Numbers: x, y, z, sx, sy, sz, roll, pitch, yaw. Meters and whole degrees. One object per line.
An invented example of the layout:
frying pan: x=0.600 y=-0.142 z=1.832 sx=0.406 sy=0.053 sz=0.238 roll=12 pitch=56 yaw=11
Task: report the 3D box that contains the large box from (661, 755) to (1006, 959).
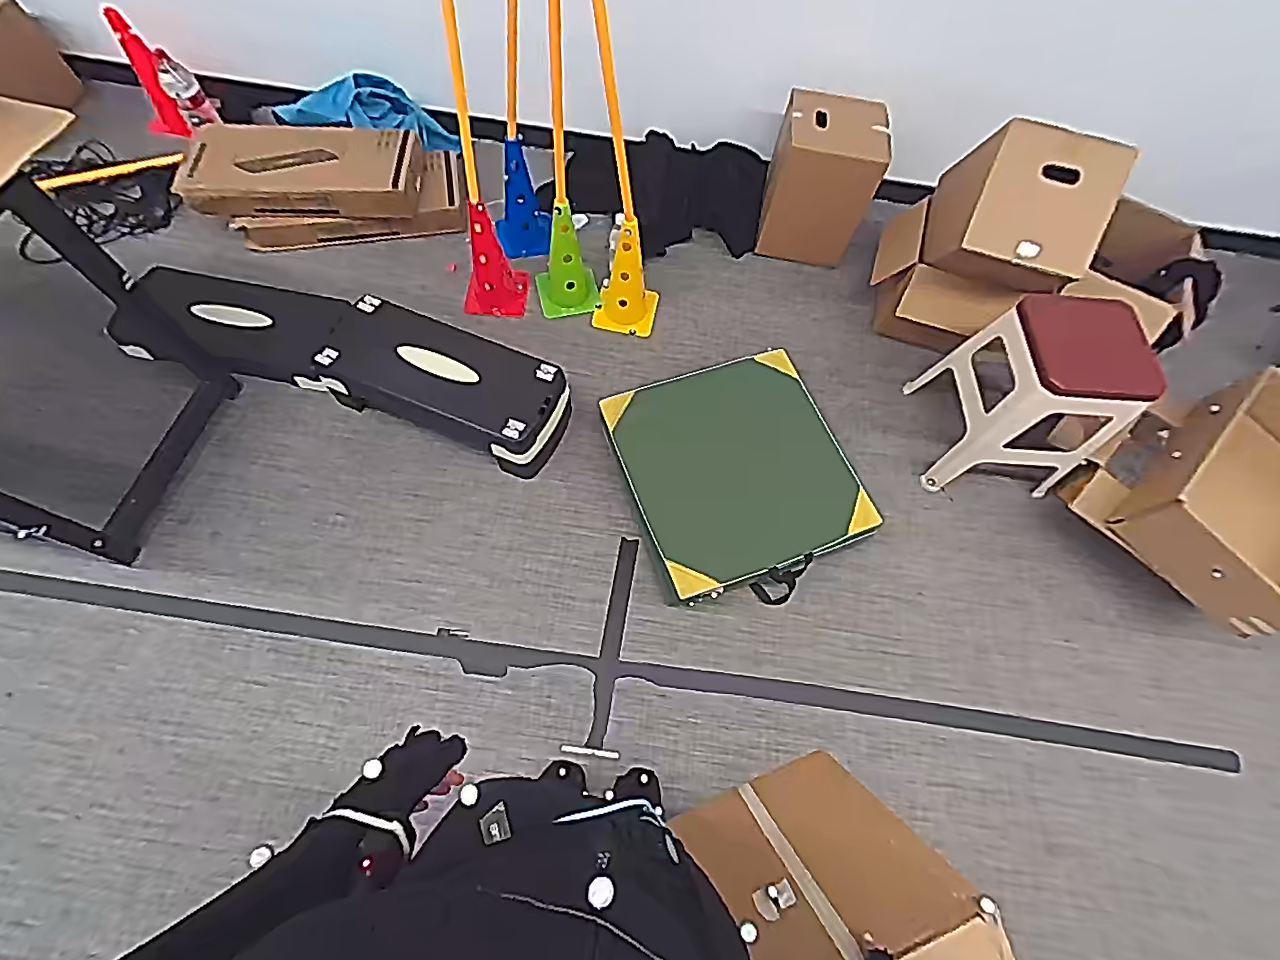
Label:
large box: x=0.252 y=0.660 z=0.737 sx=0.320 sy=0.408 sz=0.320 roll=-21 pitch=89 yaw=-8
